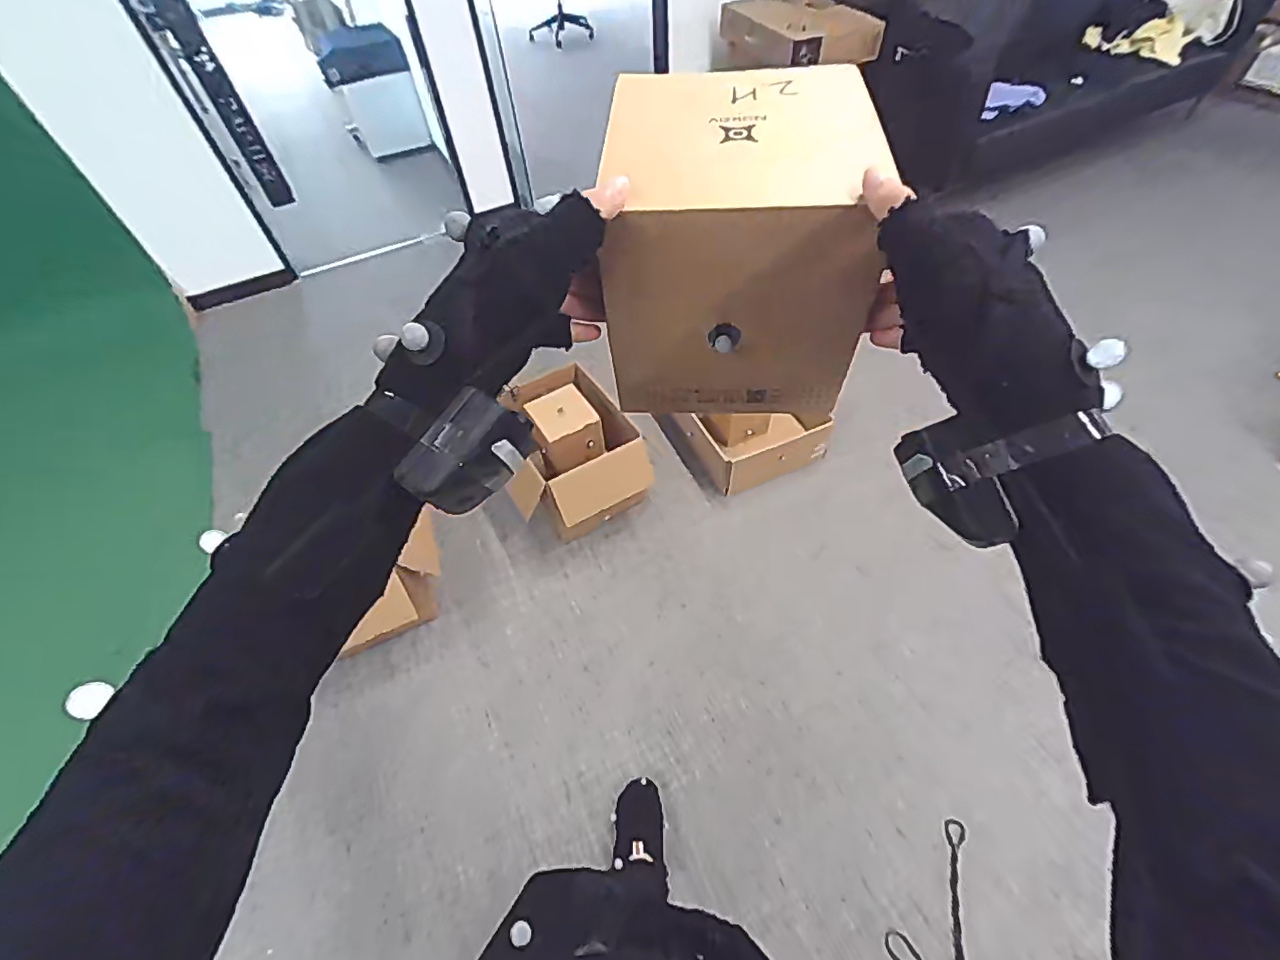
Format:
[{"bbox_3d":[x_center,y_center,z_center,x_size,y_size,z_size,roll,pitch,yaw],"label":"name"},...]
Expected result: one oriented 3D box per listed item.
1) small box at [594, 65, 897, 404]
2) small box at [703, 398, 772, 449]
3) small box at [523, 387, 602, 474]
[{"bbox_3d":[0.068,-0.172,0.402,0.168,0.176,0.179,1,55,5],"label":"small box"},{"bbox_3d":[0.323,-0.238,1.833,0.168,0.176,0.179,-22,53,-14],"label":"small box"},{"bbox_3d":[-0.226,-0.139,1.621,0.168,0.176,0.179,-28,57,-18],"label":"small box"}]
